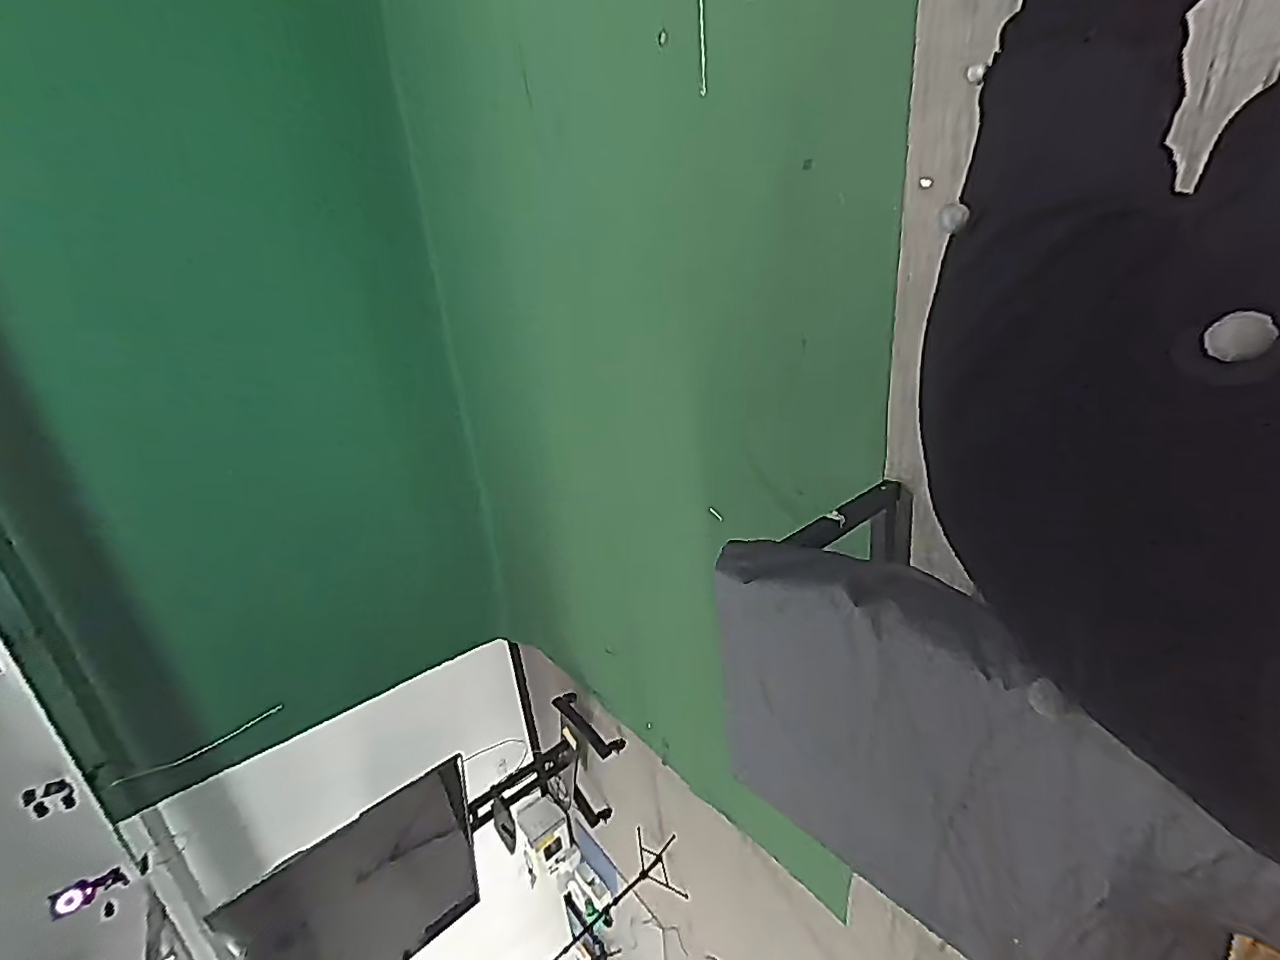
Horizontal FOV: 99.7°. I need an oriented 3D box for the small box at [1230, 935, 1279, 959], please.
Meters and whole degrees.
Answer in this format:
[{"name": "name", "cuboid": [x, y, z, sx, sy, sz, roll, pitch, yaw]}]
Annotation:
[{"name": "small box", "cuboid": [0.720, 0.646, 0.562, 0.168, 0.176, 0.179, 12, 117, 50]}]
